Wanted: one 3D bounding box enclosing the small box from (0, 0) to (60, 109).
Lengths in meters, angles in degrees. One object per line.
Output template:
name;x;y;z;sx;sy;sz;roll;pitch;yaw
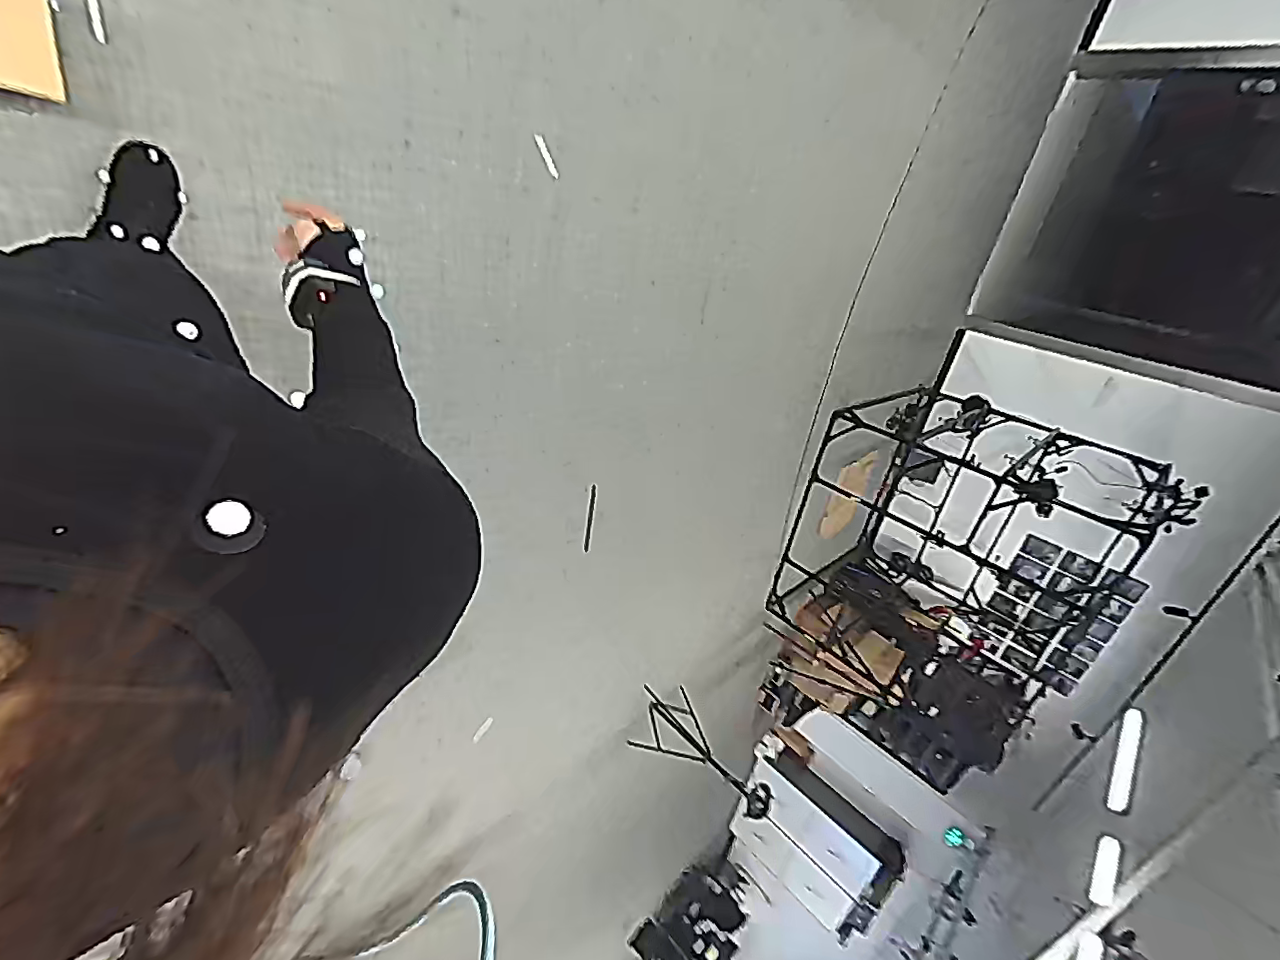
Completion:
small box;-1.056;-0.716;0.855;0.168;0.176;0.179;-14;125;-45
